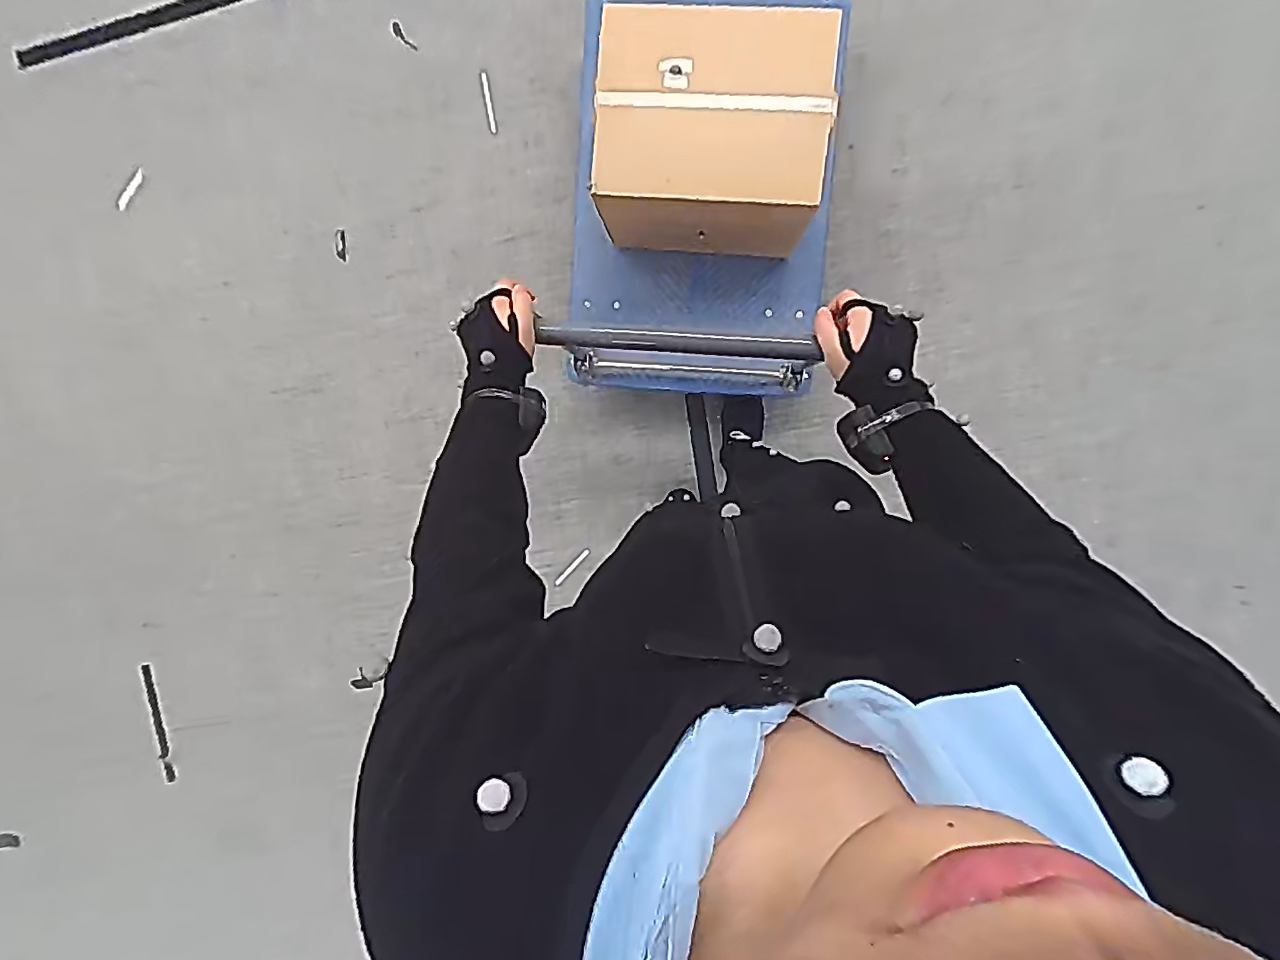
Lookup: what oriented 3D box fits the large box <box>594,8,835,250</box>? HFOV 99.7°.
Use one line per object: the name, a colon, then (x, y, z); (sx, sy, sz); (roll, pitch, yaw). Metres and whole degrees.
large box: (0.140, -0.669, 1.089); (0.408, 0.320, 0.320); (5, 96, 6)
